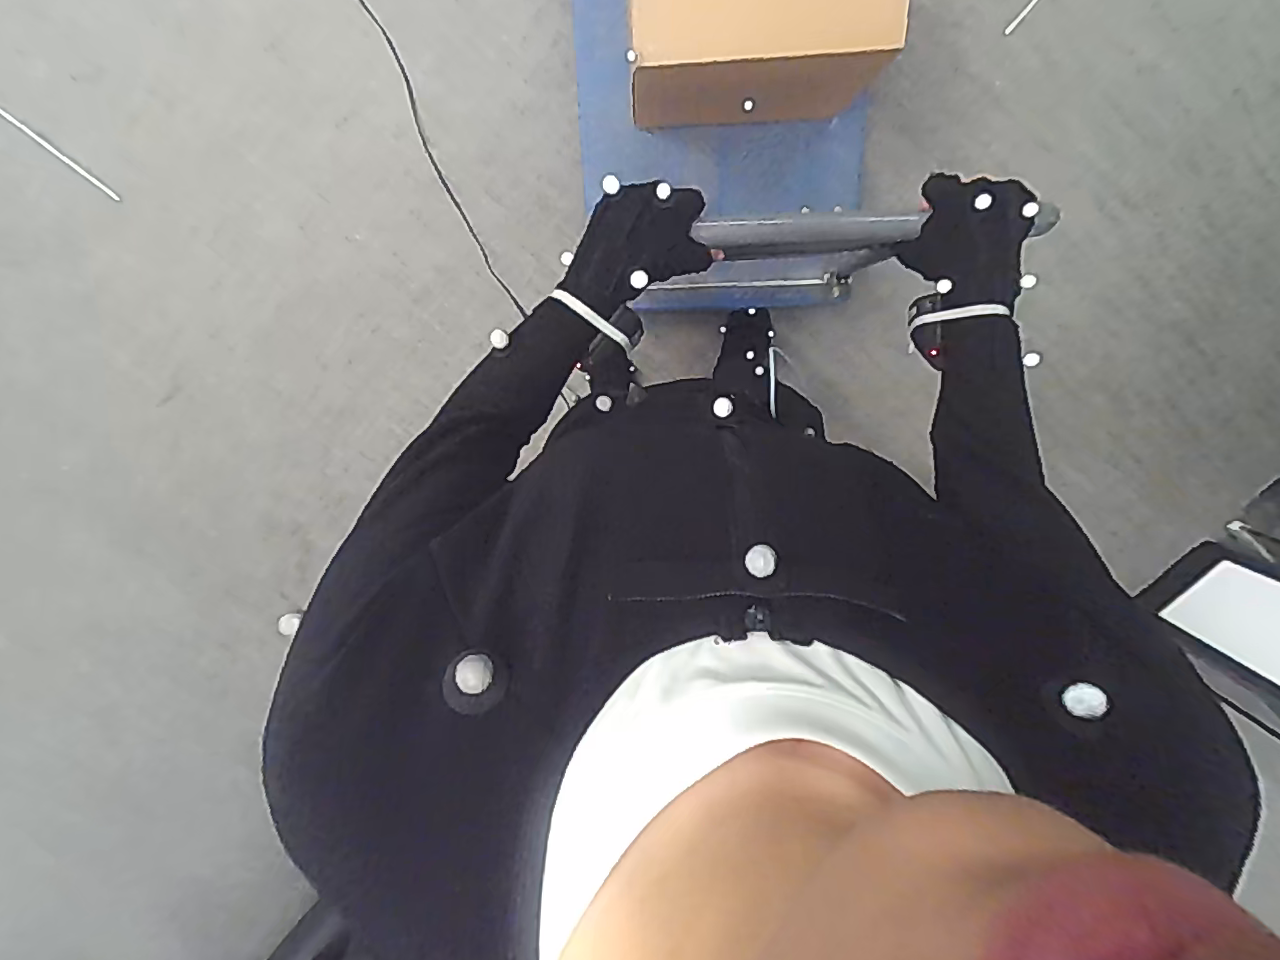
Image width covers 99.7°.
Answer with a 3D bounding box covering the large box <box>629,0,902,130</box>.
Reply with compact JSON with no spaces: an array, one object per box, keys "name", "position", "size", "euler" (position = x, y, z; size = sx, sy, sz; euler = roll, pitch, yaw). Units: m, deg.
[{"name":"large box","position":[0.184,-0.824,0.914],"size":[0.408,0.320,0.320],"euler":[-4,108,2]}]
